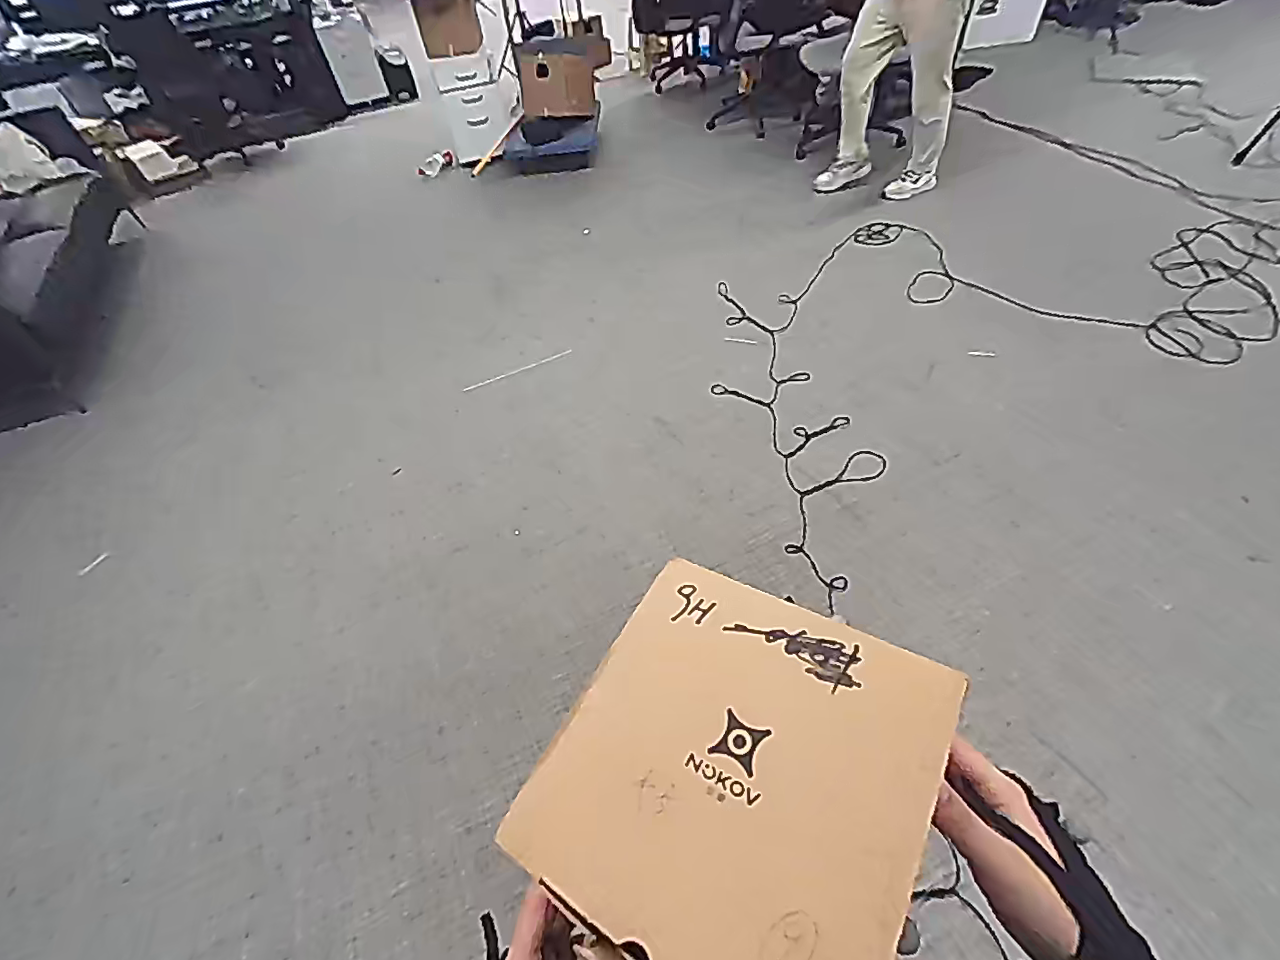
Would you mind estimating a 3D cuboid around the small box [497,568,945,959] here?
[{"bbox_3d":[0.057,0.190,0.321,0.168,0.176,0.179,19,57,30],"label":"small box"}]
